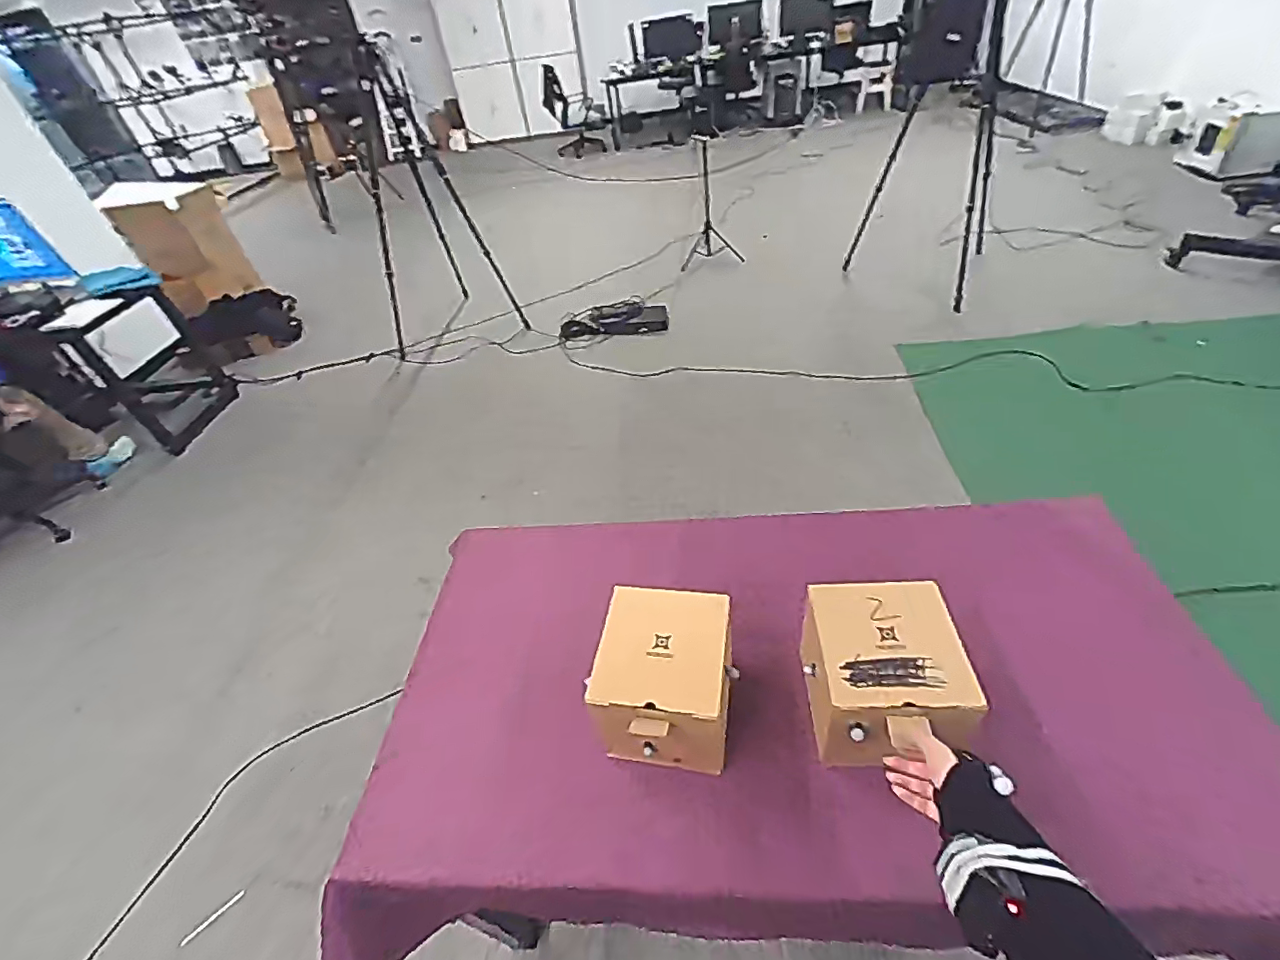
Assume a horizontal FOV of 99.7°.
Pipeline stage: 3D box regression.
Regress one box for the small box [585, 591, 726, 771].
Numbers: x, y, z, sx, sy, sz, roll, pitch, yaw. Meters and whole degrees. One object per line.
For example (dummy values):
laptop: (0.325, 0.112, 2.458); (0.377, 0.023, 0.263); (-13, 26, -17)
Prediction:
small box: (0.034, 0.283, 0.770); (0.168, 0.176, 0.179); (2, 44, 13)
